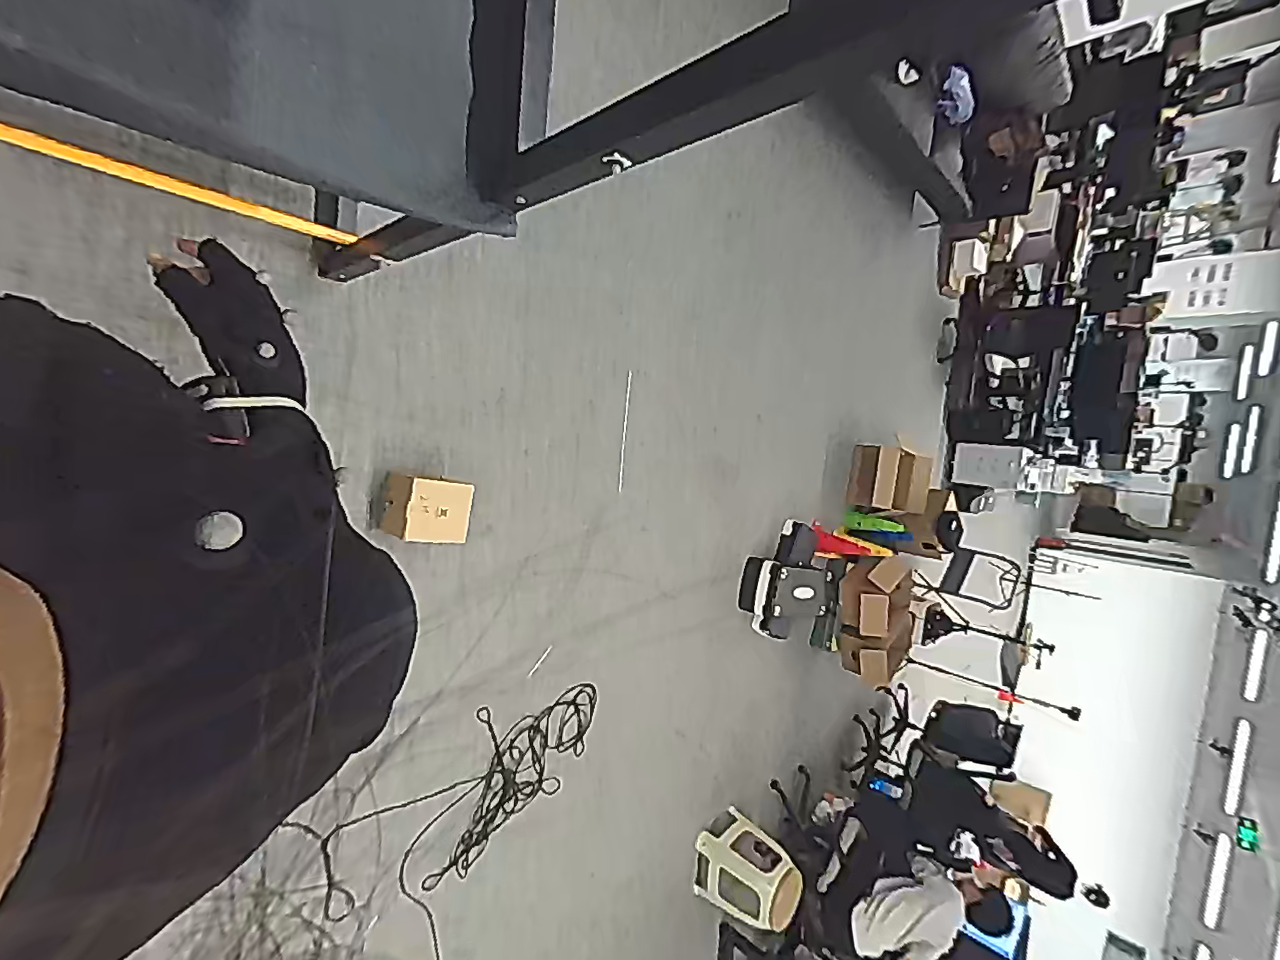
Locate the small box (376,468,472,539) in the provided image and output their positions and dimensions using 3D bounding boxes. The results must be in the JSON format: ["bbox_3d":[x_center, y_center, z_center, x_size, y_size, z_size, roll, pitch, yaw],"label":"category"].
[{"bbox_3d":[-0.597,0.063,1.492,0.179,0.176,0.168,10,89,-46],"label":"small box"}]
